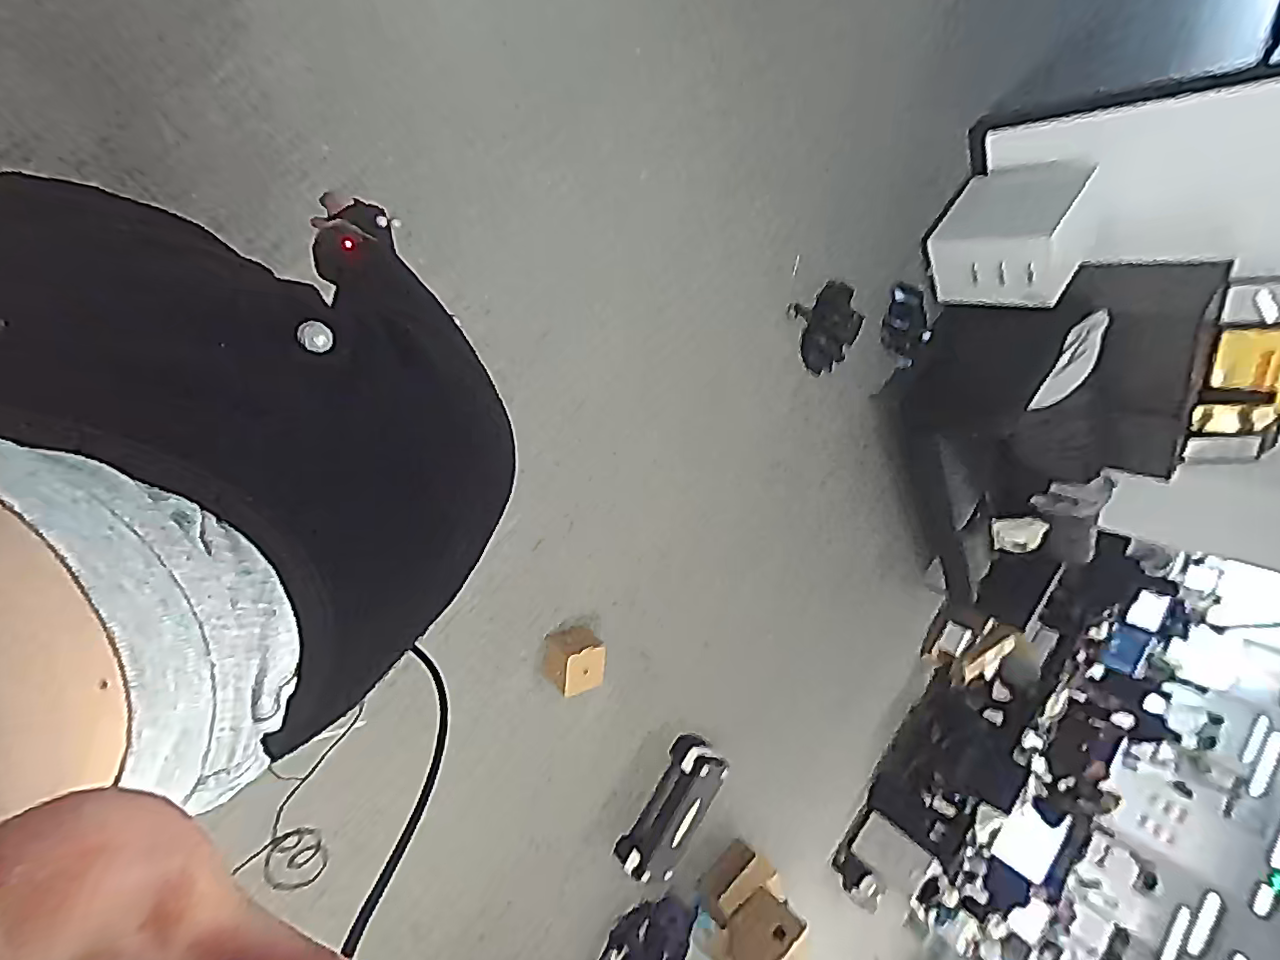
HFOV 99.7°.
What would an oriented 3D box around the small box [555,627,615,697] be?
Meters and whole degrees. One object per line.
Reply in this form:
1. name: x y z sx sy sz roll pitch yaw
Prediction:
1. small box: -0.212 0.681 2.056 0.168 0.176 0.179 -9 112 -37
